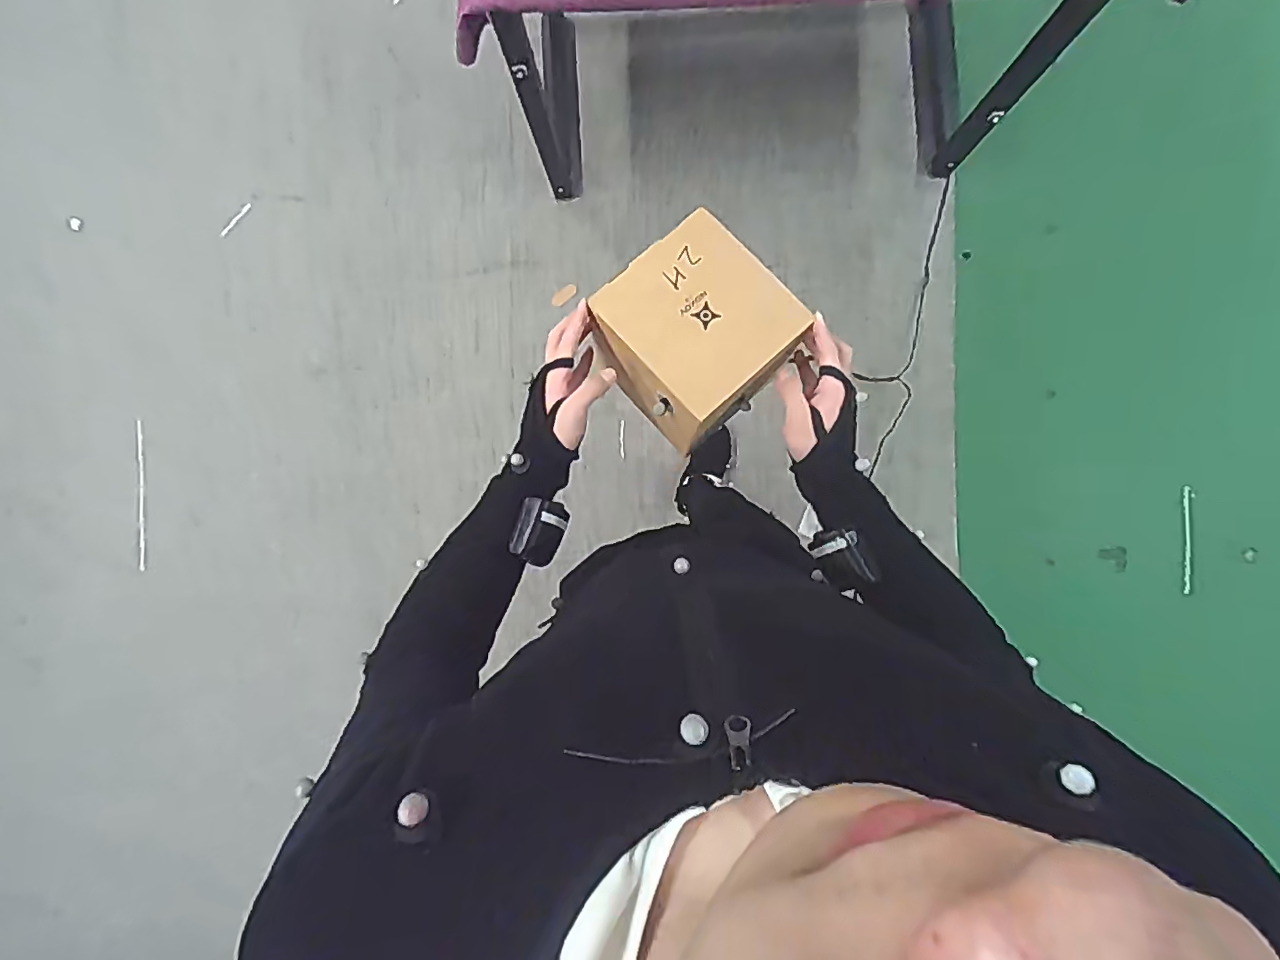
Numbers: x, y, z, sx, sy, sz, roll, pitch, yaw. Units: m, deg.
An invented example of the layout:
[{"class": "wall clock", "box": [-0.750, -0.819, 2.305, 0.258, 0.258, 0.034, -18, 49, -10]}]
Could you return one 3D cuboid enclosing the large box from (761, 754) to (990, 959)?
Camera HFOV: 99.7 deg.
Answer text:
[{"class": "large box", "box": [0.594, 1.033, 1.442, 0.408, 0.320, 0.320, -34, 89, 0]}]
